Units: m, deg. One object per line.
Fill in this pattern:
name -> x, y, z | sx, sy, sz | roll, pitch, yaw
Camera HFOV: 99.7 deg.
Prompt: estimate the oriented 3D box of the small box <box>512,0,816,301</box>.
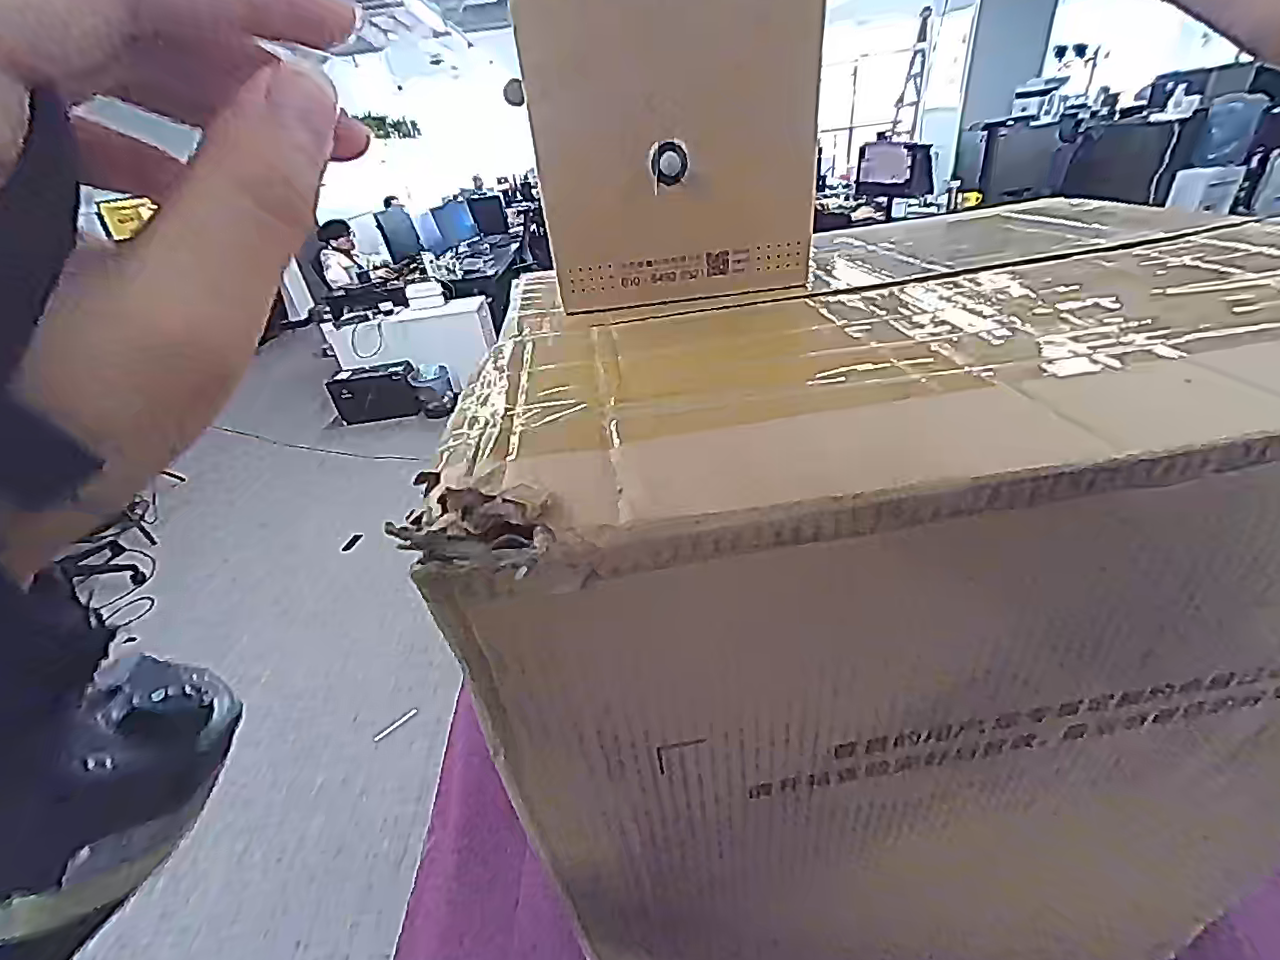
small box -> 0.019, -0.232, 0.387 | 0.168, 0.176, 0.179 | -6, 32, 0
